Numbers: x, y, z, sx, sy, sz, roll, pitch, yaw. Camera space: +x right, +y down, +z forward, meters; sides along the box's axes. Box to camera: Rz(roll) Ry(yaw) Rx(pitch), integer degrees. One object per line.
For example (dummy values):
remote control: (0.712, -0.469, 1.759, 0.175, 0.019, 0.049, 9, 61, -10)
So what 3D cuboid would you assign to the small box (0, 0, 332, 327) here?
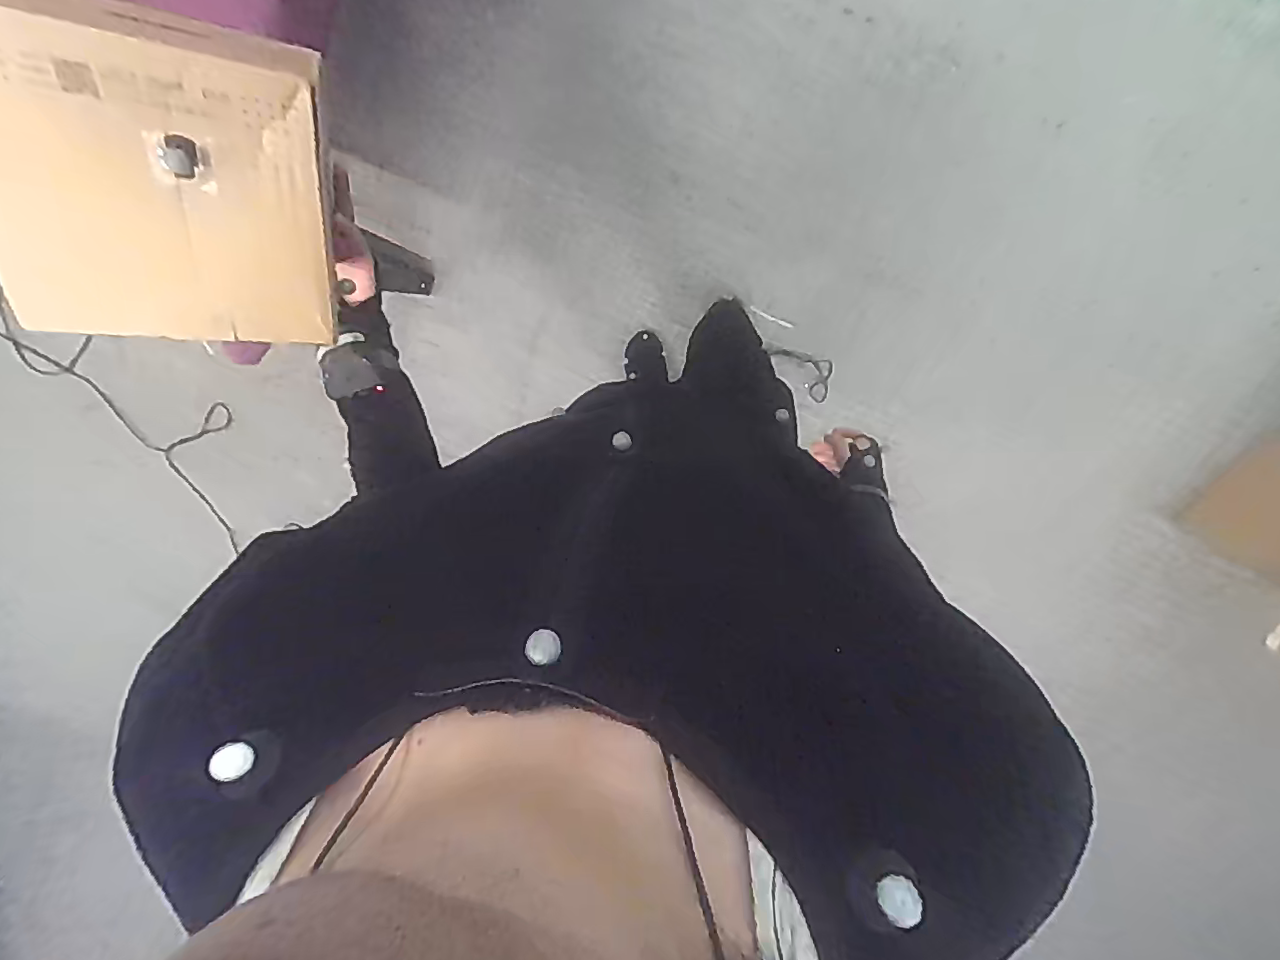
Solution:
small box: (-0.306, -0.224, 0.363, 0.168, 0.179, 0.176, -3, 130, -27)
